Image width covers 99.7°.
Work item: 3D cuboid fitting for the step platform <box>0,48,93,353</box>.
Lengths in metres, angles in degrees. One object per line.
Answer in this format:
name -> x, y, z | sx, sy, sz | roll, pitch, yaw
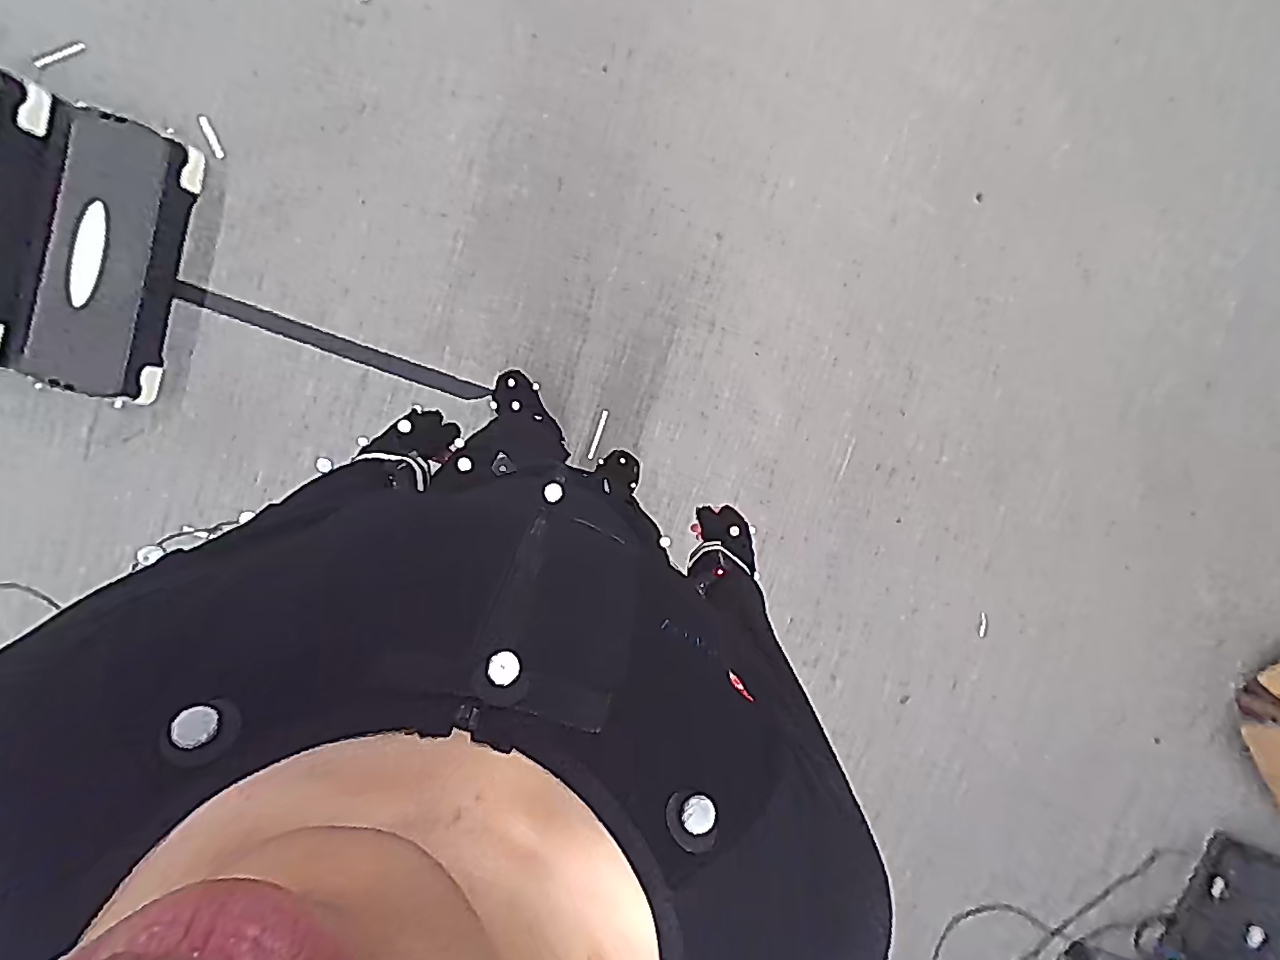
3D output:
step platform -> -1.577, -0.663, 1.271 | 0.286, 0.204, 0.684 | 17, 94, -3
